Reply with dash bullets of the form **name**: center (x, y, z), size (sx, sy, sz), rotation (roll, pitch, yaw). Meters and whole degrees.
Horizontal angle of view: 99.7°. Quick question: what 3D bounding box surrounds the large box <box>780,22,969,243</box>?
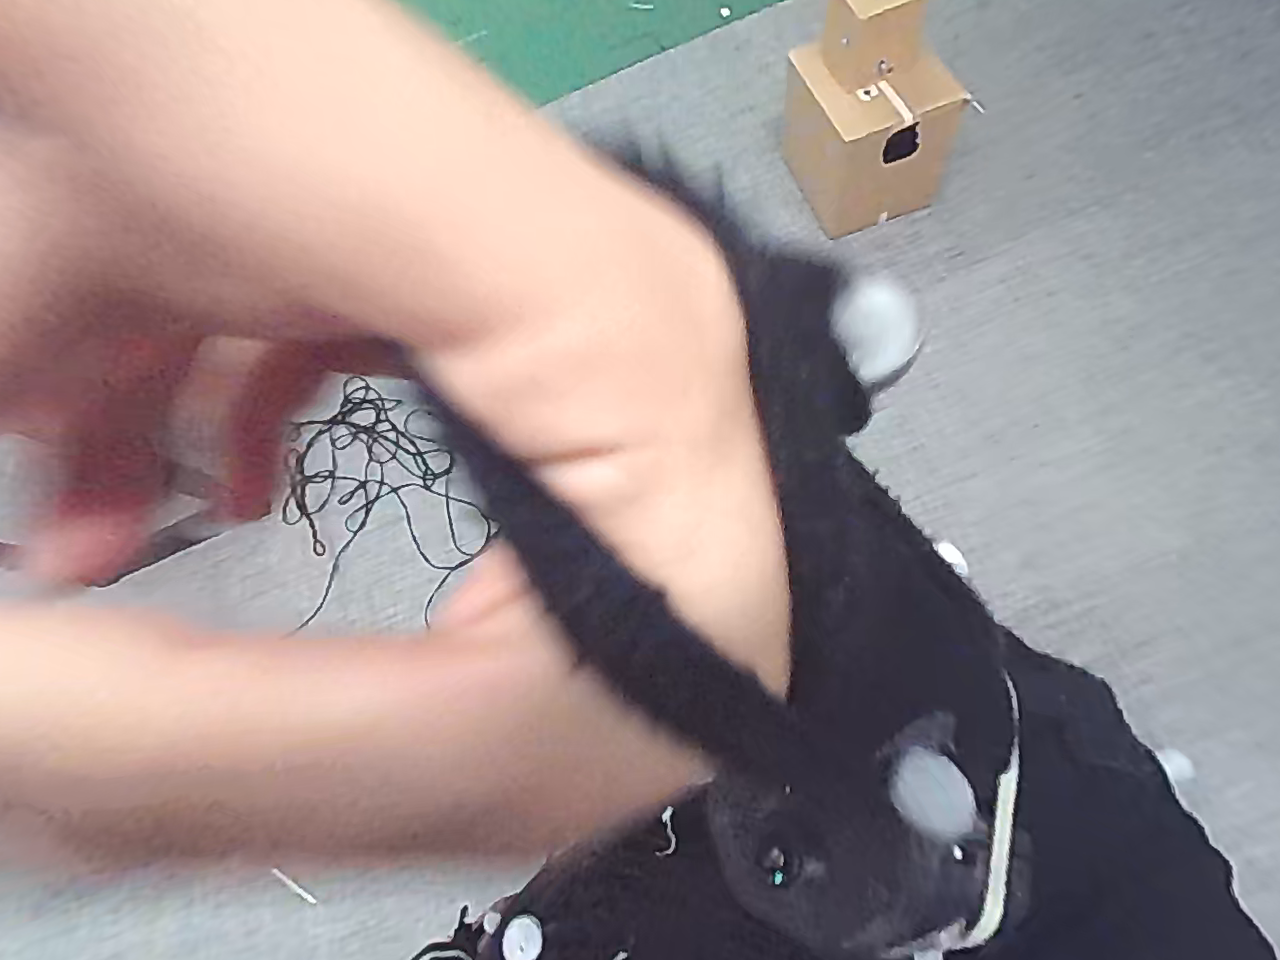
- **large box**: center (0.622, -0.965, 1.524), size (0.320, 0.320, 0.408), rotation (-19, 67, 5)
